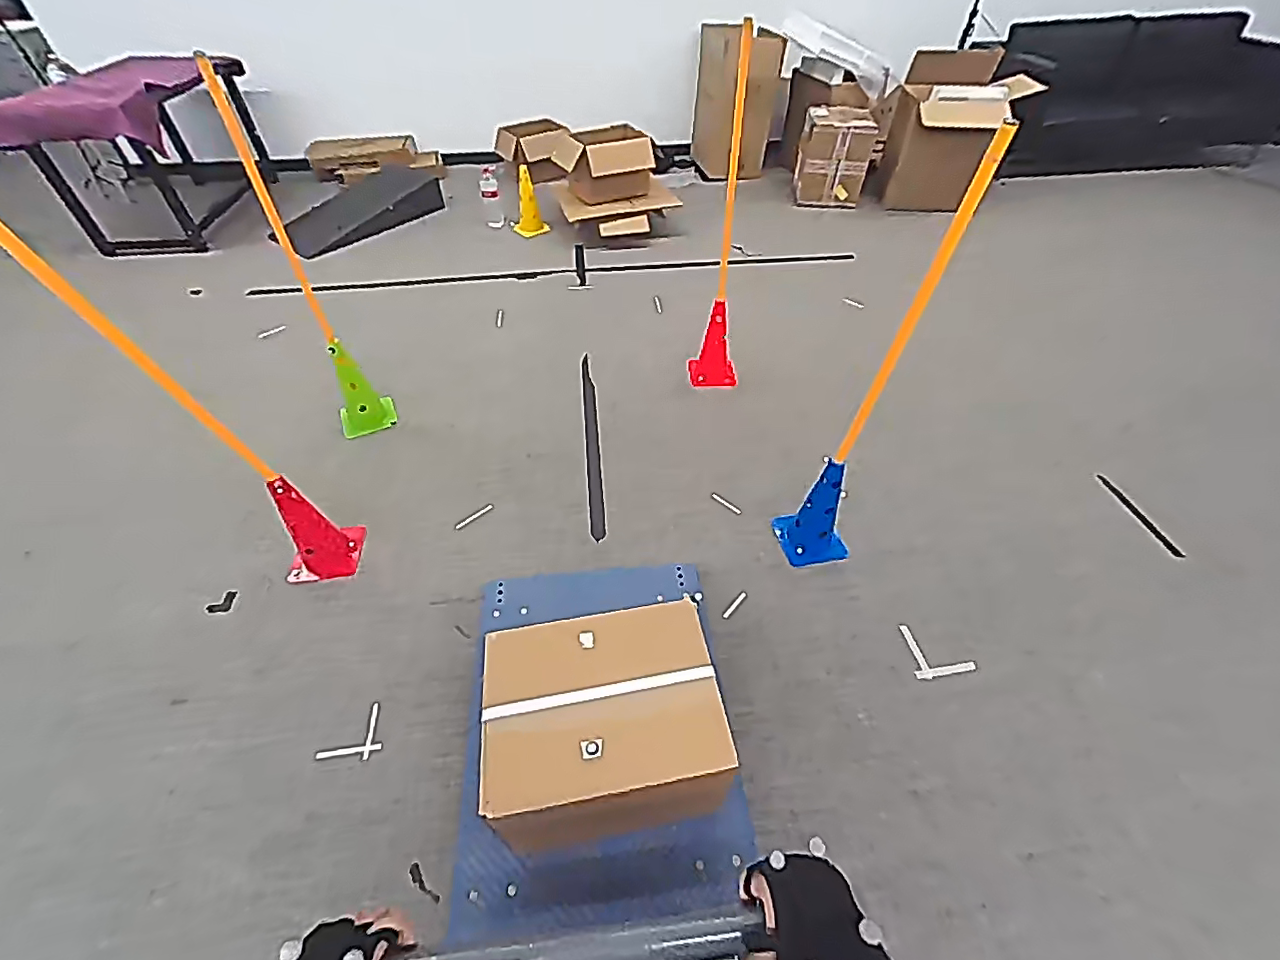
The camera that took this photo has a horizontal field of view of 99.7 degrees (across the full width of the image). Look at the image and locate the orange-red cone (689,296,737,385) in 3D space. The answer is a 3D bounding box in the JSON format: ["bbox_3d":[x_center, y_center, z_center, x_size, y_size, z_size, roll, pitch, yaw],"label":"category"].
[{"bbox_3d":[0.320,-0.594,2.247,0.199,0.360,0.198,0,48,-1],"label":"orange-red cone"}]

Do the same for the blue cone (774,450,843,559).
[{"bbox_3d":[0.554,0.063,1.661,0.193,0.380,0.192,-8,47,-8],"label":"blue cone"}]
